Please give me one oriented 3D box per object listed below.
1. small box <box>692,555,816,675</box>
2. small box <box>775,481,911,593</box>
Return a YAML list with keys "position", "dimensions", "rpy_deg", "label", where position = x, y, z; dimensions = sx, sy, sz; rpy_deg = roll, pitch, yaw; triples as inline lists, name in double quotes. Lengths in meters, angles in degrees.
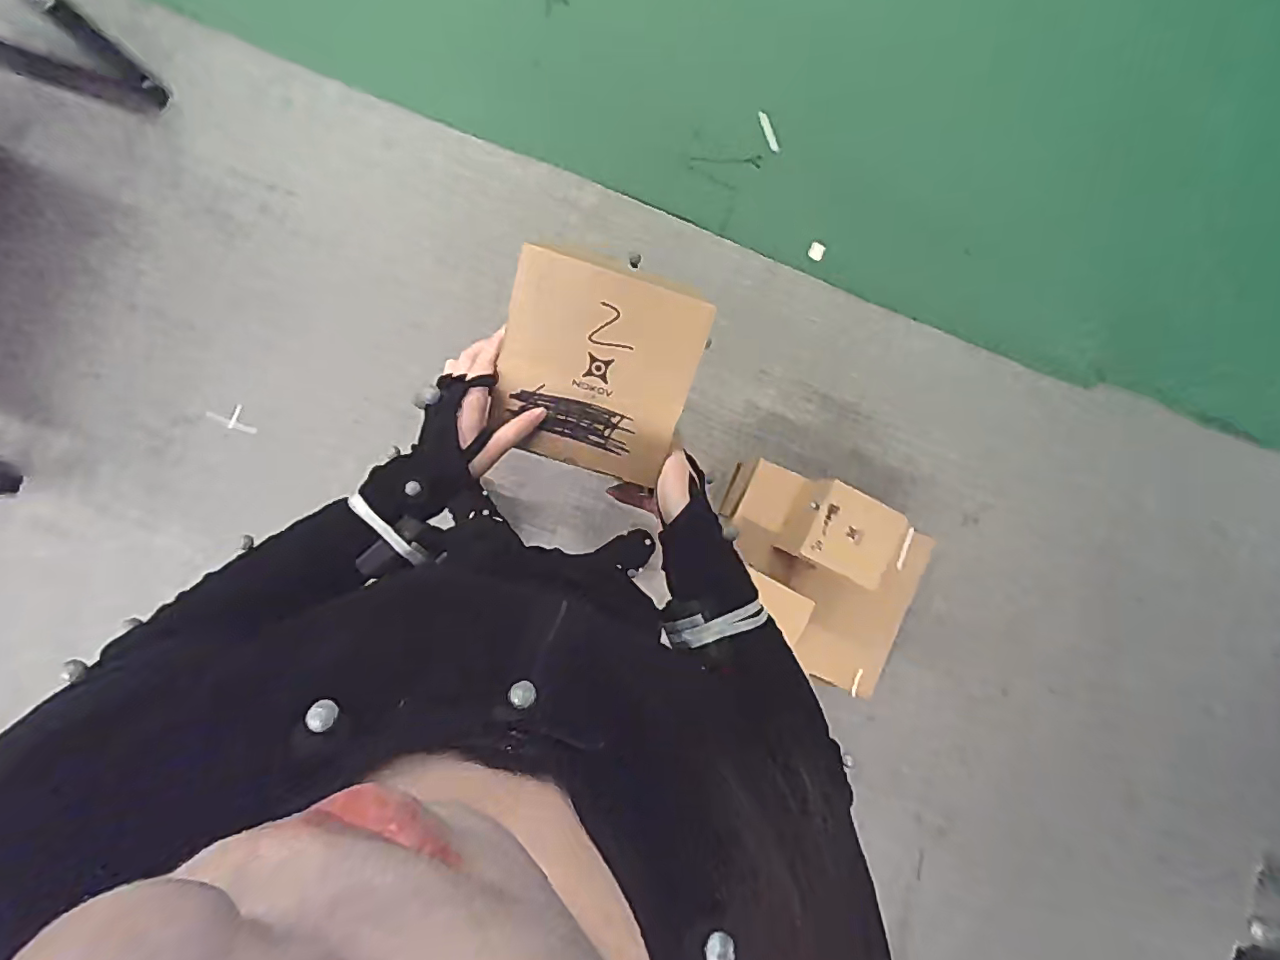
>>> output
- position: [0.225, 0.268, 1.123]
  dimensions: [0.179, 0.176, 0.168]
  rpy_deg: [30, 89, -3]
  label: "small box"
- position: [0.417, 0.112, 1.138]
  dimensions: [0.179, 0.176, 0.168]
  rpy_deg: [29, 86, -4]
  label: "small box"
